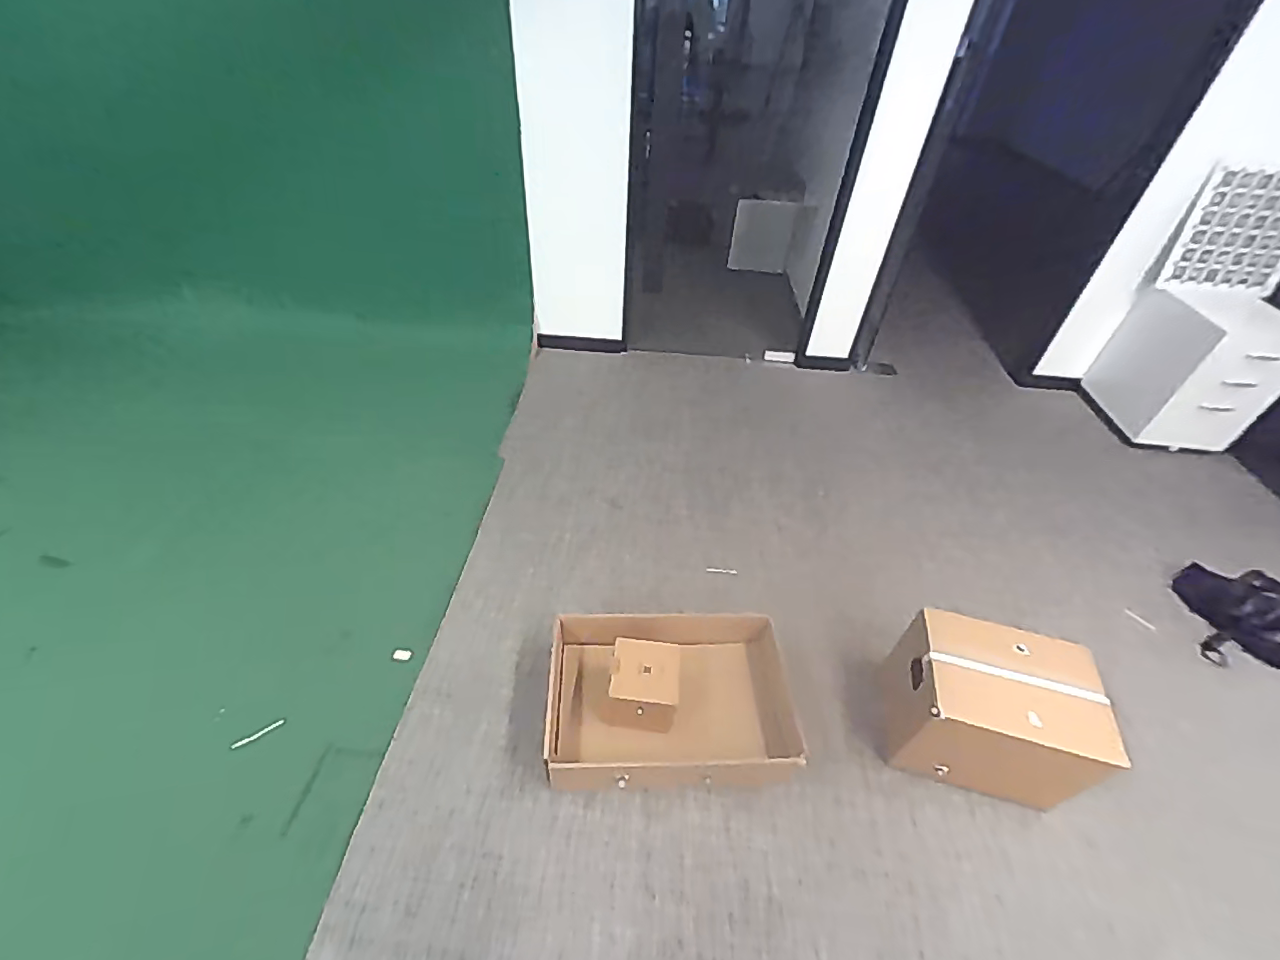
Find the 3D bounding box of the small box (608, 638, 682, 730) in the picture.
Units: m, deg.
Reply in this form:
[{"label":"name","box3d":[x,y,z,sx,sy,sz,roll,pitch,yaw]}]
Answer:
[{"label":"small box","box3d":[0.011,0.541,1.427,0.179,0.176,0.168,7,43,0]}]
